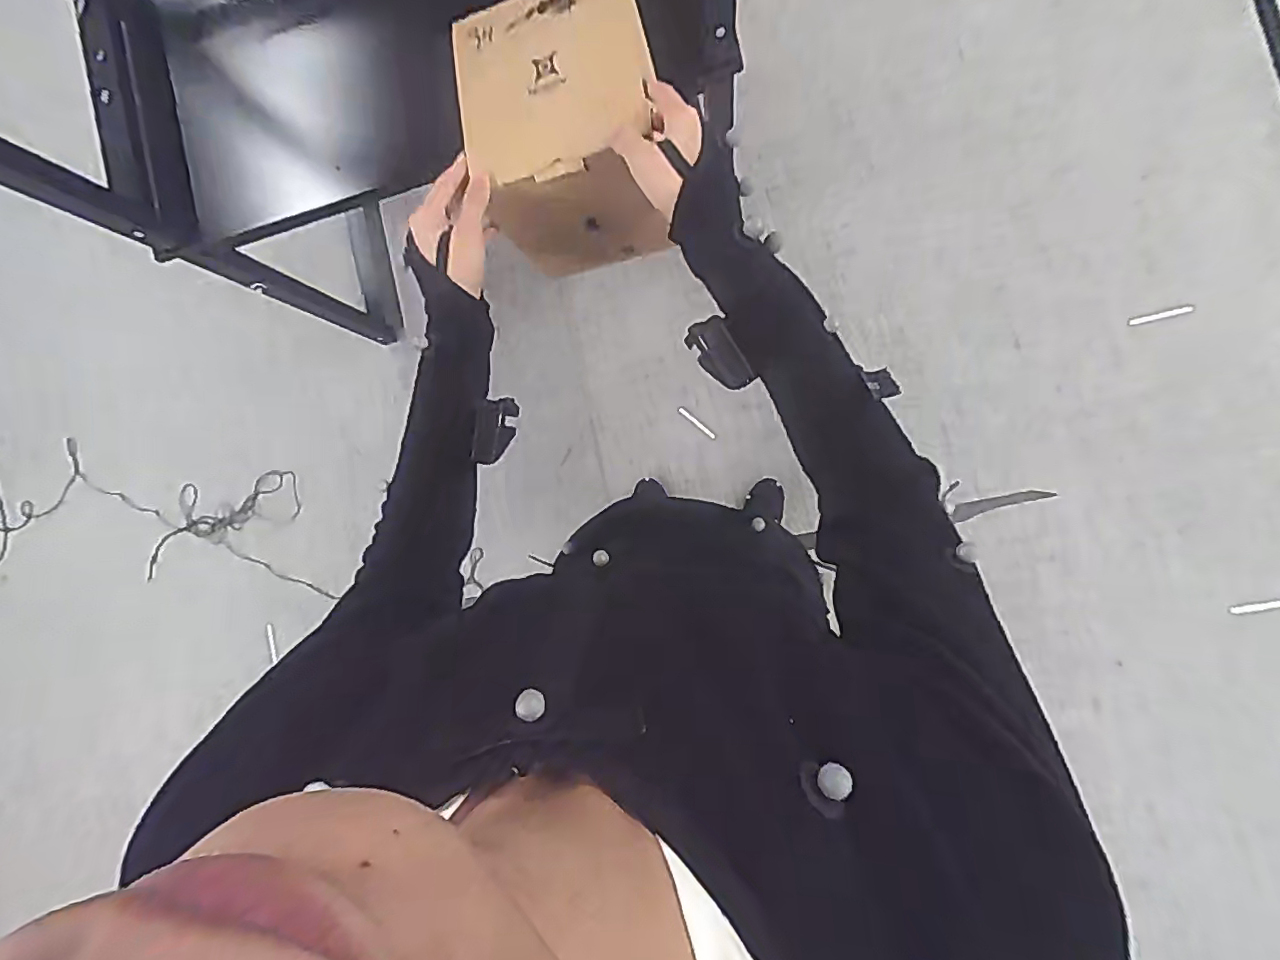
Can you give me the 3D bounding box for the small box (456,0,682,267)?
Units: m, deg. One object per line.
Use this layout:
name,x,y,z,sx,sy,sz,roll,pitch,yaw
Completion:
small box,-0.059,-0.338,0.546,0.168,0.176,0.179,-10,83,13
